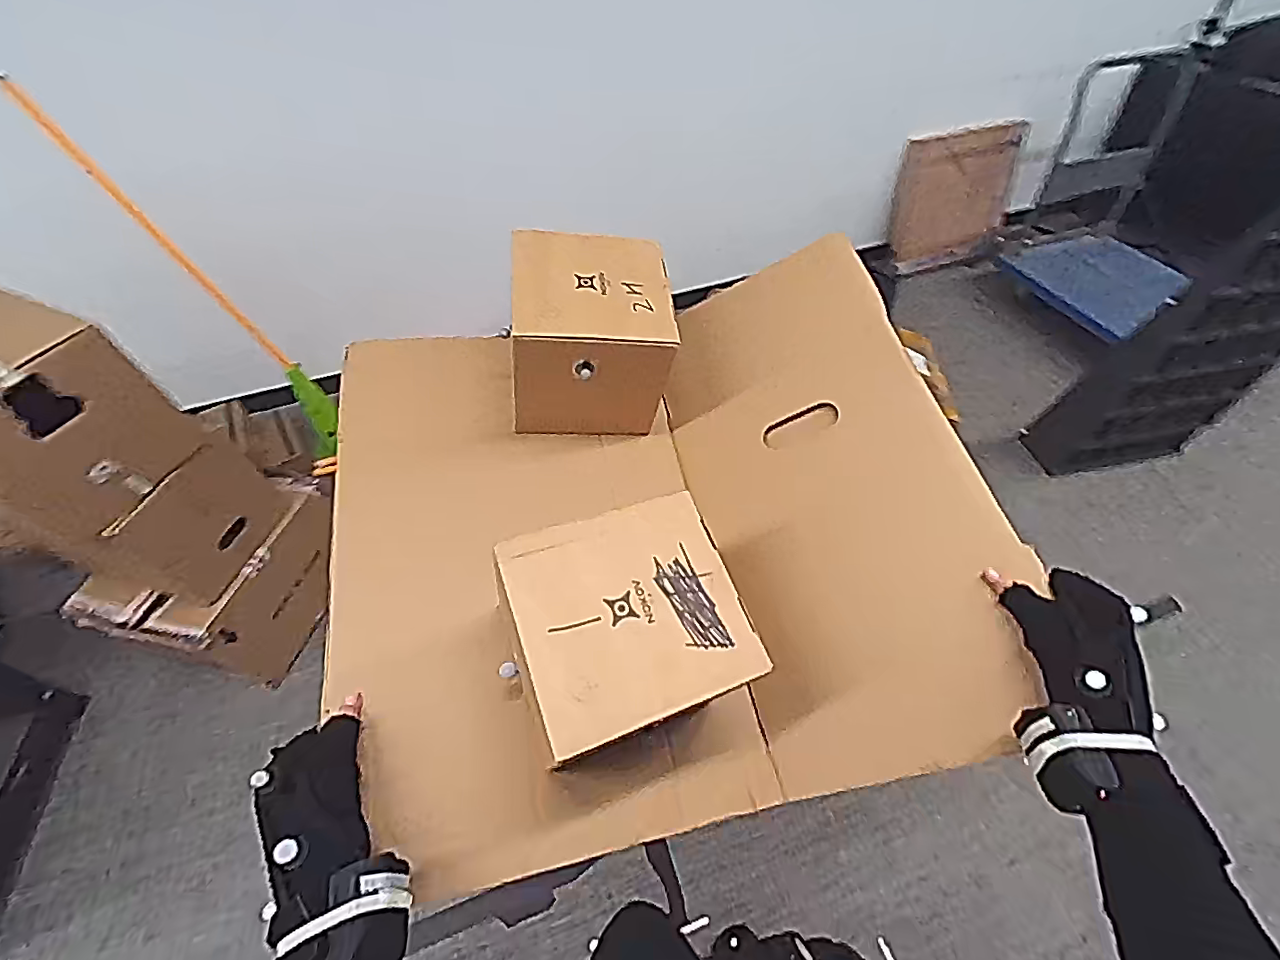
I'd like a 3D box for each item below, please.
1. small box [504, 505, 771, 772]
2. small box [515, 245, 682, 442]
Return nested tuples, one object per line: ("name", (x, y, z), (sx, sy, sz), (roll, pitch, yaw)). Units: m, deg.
("small box", (-0.018, 0.147, 0.493), (0.179, 0.176, 0.168), (-14, 64, -18))
("small box", (-0.060, -0.159, 0.664), (0.179, 0.176, 0.168), (0, 60, -12))
